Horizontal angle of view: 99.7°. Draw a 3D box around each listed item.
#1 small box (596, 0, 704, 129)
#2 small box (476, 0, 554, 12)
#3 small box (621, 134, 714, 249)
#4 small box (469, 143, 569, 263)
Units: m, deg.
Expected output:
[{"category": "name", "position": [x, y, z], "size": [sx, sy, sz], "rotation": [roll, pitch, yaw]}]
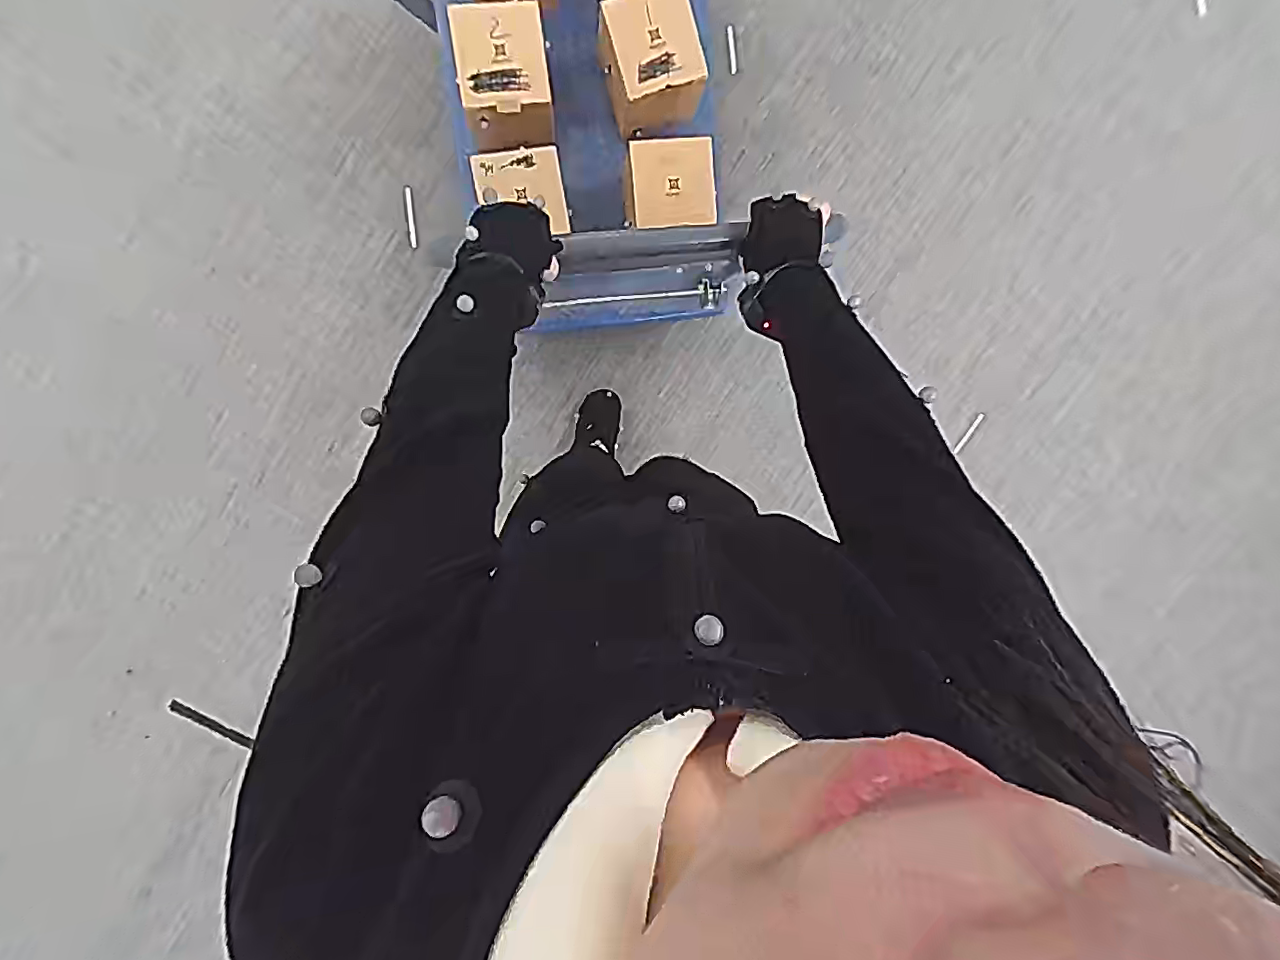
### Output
[{"category": "small box", "position": [0.014, -0.850, 1.099], "size": [0.168, 0.176, 0.179], "rotation": [-19, 100, -4]}, {"category": "small box", "position": [-0.256, -1.049, 1.032], "size": [0.168, 0.176, 0.179], "rotation": [-5, 100, -6]}, {"category": "small box", "position": [0.054, -0.599, 1.145], "size": [0.168, 0.176, 0.179], "rotation": [-7, 99, -6]}, {"category": "small box", "position": [-0.239, -0.557, 1.113], "size": [0.168, 0.176, 0.179], "rotation": [-11, 101, -6]}]
